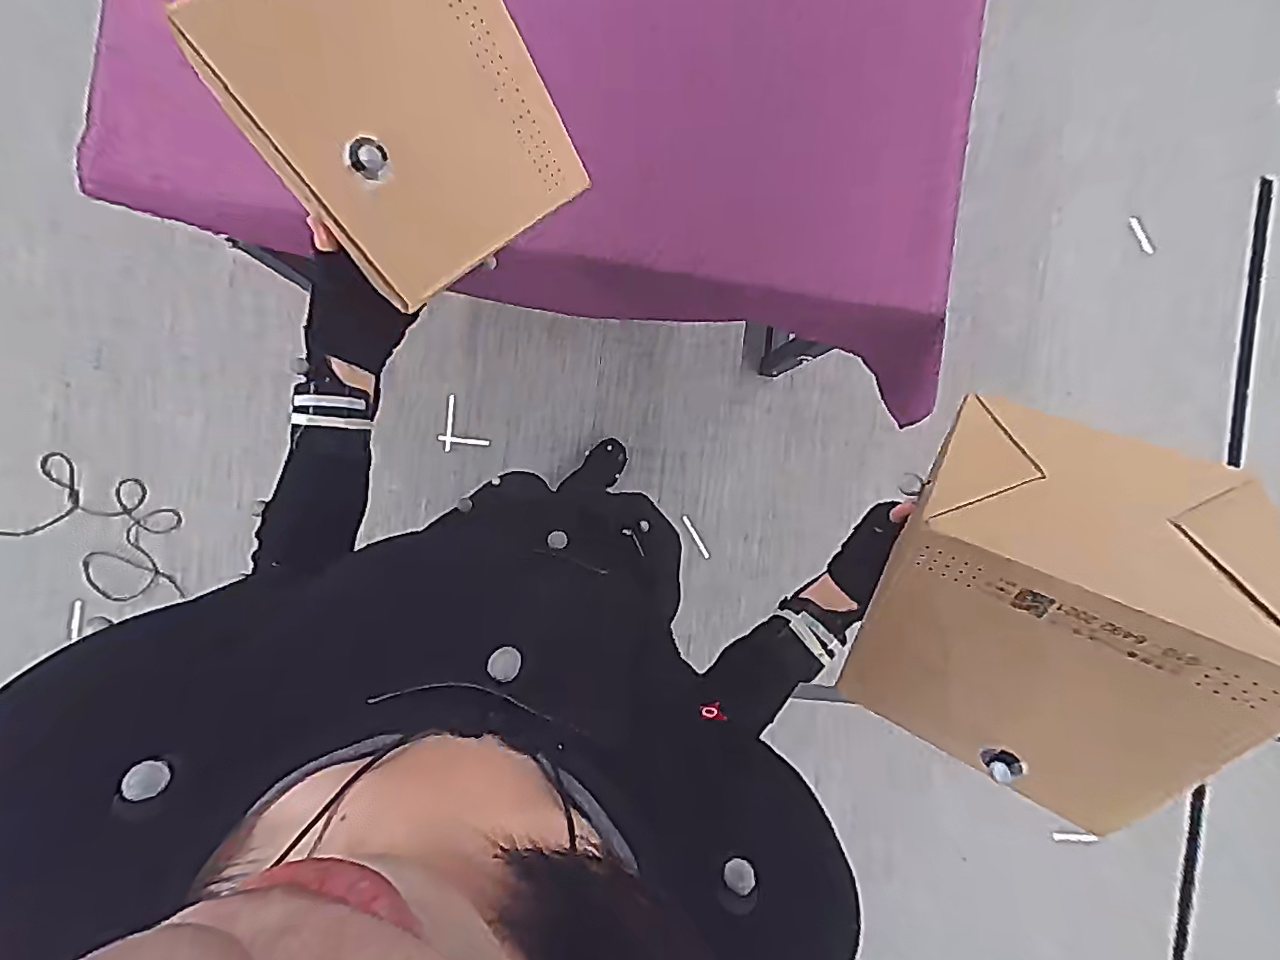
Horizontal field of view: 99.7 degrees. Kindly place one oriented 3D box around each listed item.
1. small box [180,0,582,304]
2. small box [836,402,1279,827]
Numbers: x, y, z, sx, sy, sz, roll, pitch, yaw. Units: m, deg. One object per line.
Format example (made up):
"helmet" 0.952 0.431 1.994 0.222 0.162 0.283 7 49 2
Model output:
"small box" -0.171 -0.258 0.395 0.176 0.168 0.179 -41 127 -12
"small box" 0.253 0.067 0.348 0.168 0.179 0.176 24 134 25
